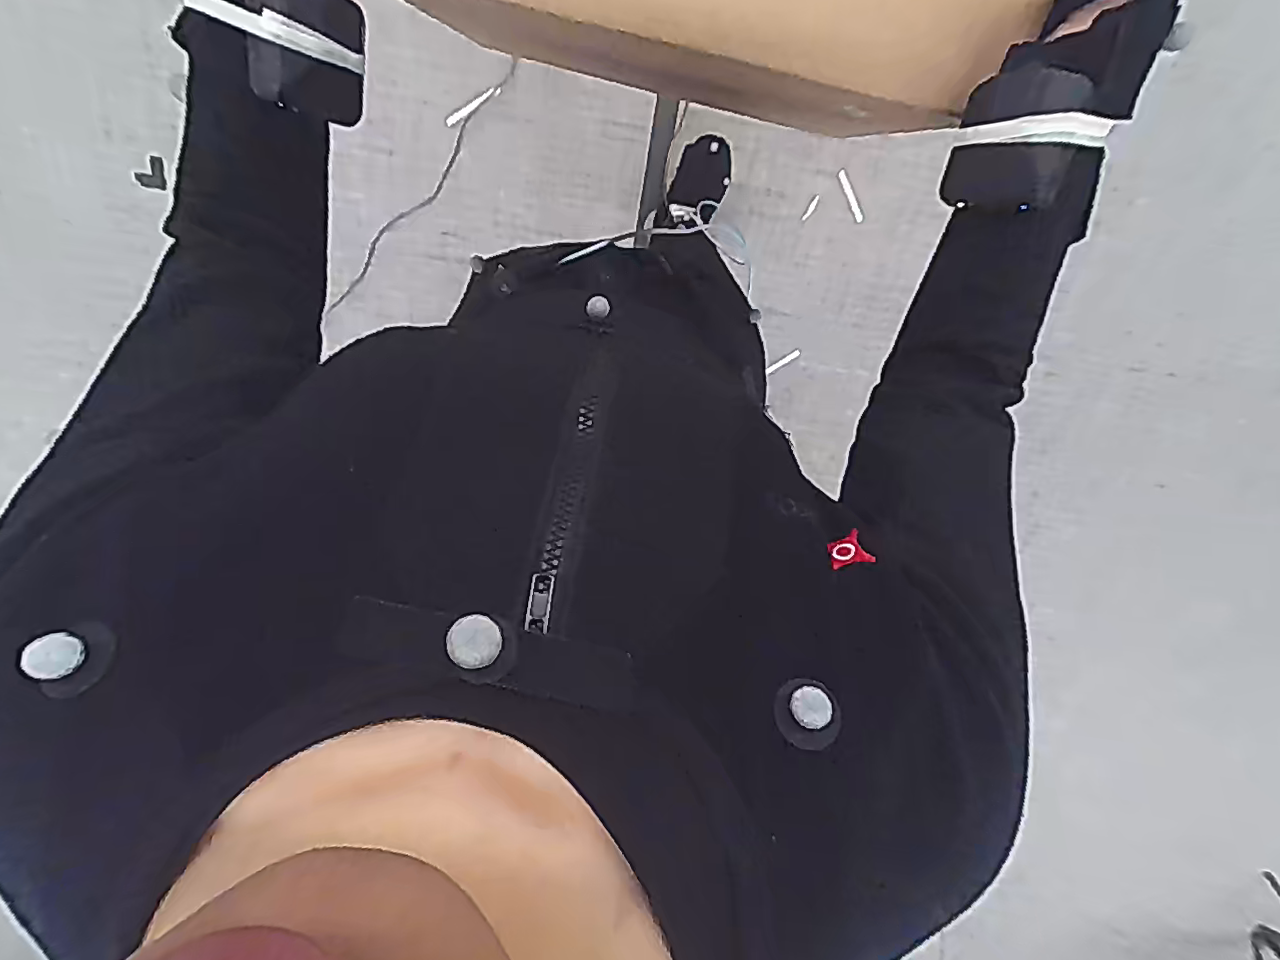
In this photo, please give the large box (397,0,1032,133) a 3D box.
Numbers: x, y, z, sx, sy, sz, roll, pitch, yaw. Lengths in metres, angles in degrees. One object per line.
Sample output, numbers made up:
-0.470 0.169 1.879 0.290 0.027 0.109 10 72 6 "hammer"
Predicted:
0.051 -0.464 0.377 0.408 0.320 0.320 10 122 -5 "large box"
